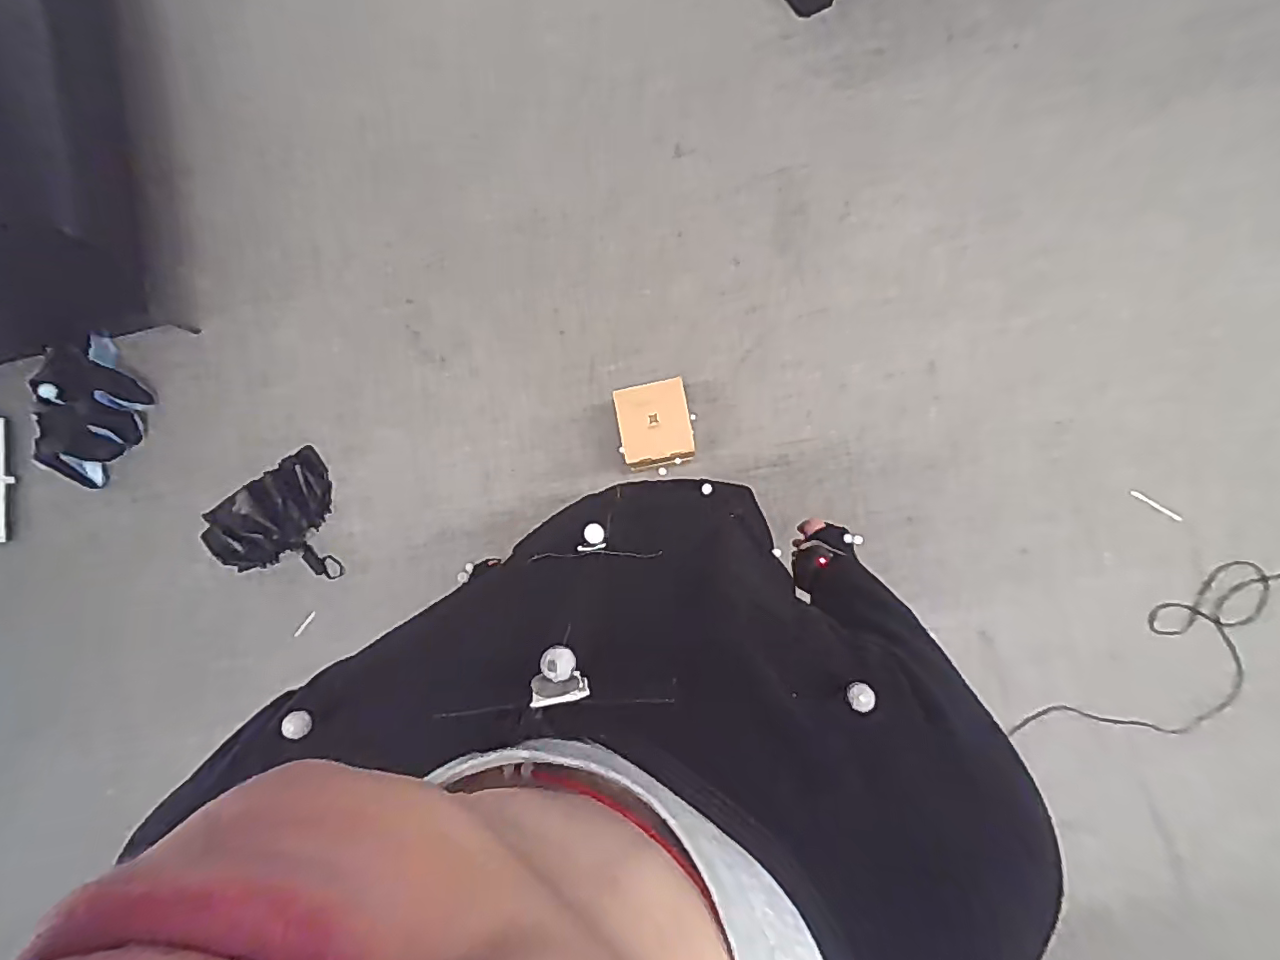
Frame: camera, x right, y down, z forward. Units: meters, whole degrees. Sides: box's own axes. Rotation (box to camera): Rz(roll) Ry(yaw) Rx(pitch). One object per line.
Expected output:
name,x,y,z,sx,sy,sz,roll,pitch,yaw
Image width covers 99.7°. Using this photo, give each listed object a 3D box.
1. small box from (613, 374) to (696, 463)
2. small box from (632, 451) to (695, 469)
small box,0.041,-0.140,1.317,0.168,0.176,0.179,-12,86,4
small box,0.054,-0.130,1.478,0.168,0.176,0.179,-10,88,6
